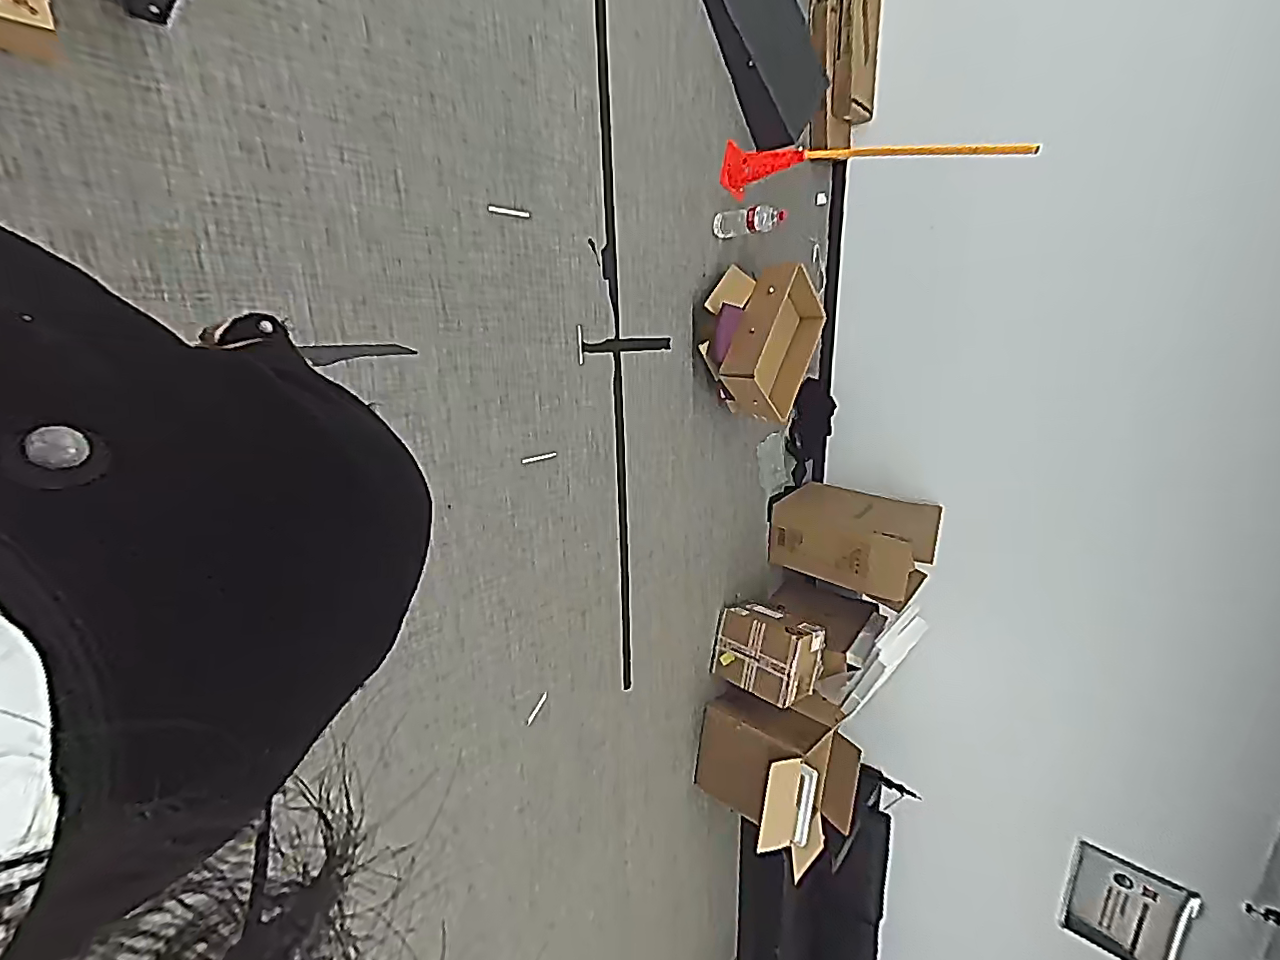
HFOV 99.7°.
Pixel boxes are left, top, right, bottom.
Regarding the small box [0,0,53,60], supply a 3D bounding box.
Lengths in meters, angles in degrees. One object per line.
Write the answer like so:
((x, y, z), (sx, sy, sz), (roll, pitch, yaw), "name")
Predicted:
((-1.047, -0.795, 0.828), (0.168, 0.176, 0.179), (-18, 113, -44), "small box")
